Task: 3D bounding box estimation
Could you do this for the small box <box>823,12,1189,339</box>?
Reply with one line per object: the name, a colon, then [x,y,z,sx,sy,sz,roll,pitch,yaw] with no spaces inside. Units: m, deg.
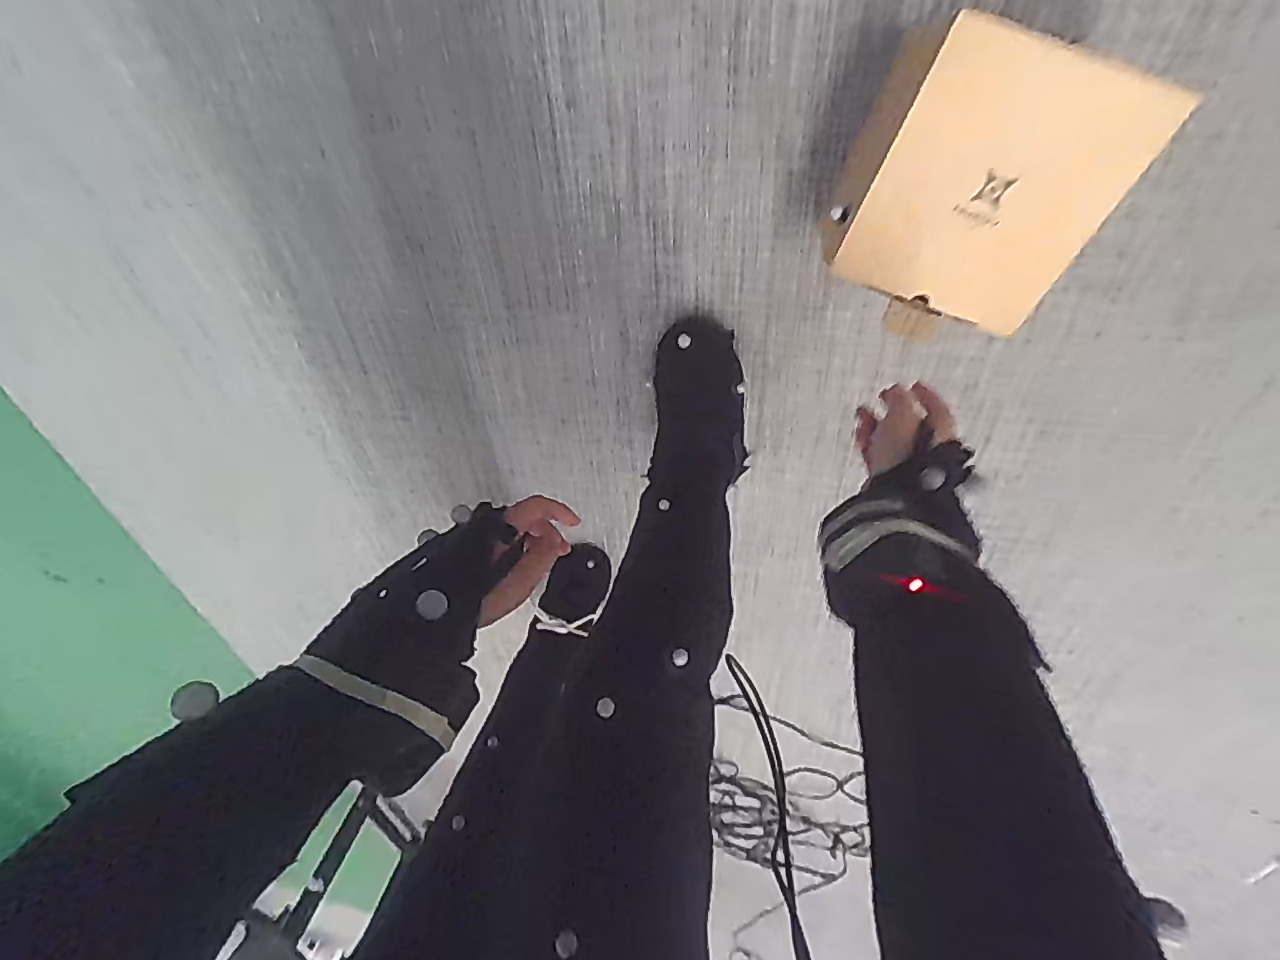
small box: [0.268,-0.254,0.457,0.168,0.176,0.179,19,130,-1]
